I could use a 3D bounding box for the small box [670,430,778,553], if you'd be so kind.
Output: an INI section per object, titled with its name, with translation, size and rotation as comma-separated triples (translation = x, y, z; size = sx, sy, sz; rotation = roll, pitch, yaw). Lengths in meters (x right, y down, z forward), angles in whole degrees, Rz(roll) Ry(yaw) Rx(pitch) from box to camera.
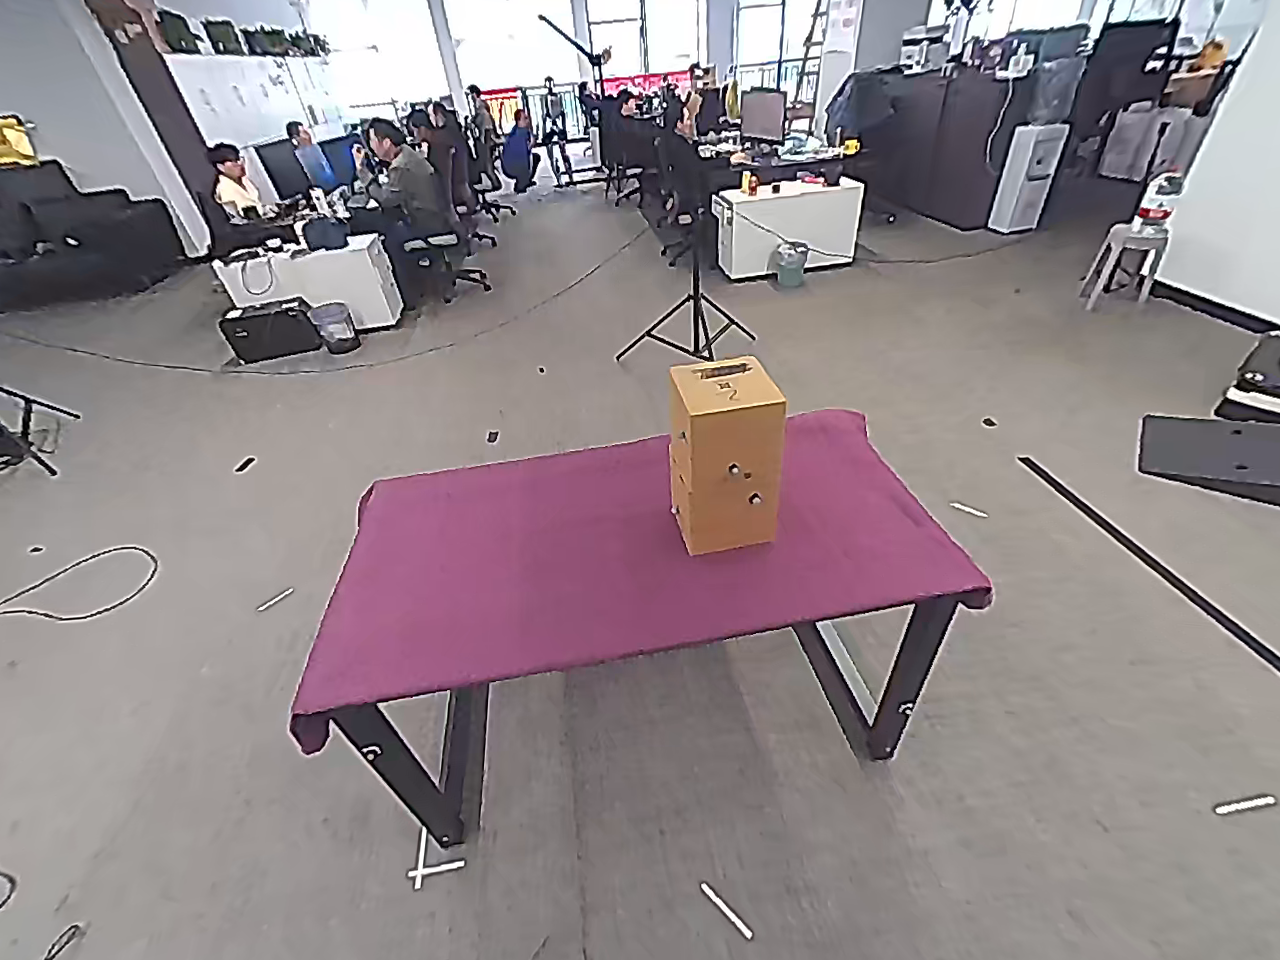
[small box]
translation = 0.163, 0.023, 1.096
size = 0.179, 0.176, 0.168
rotation = -10, 38, -5
